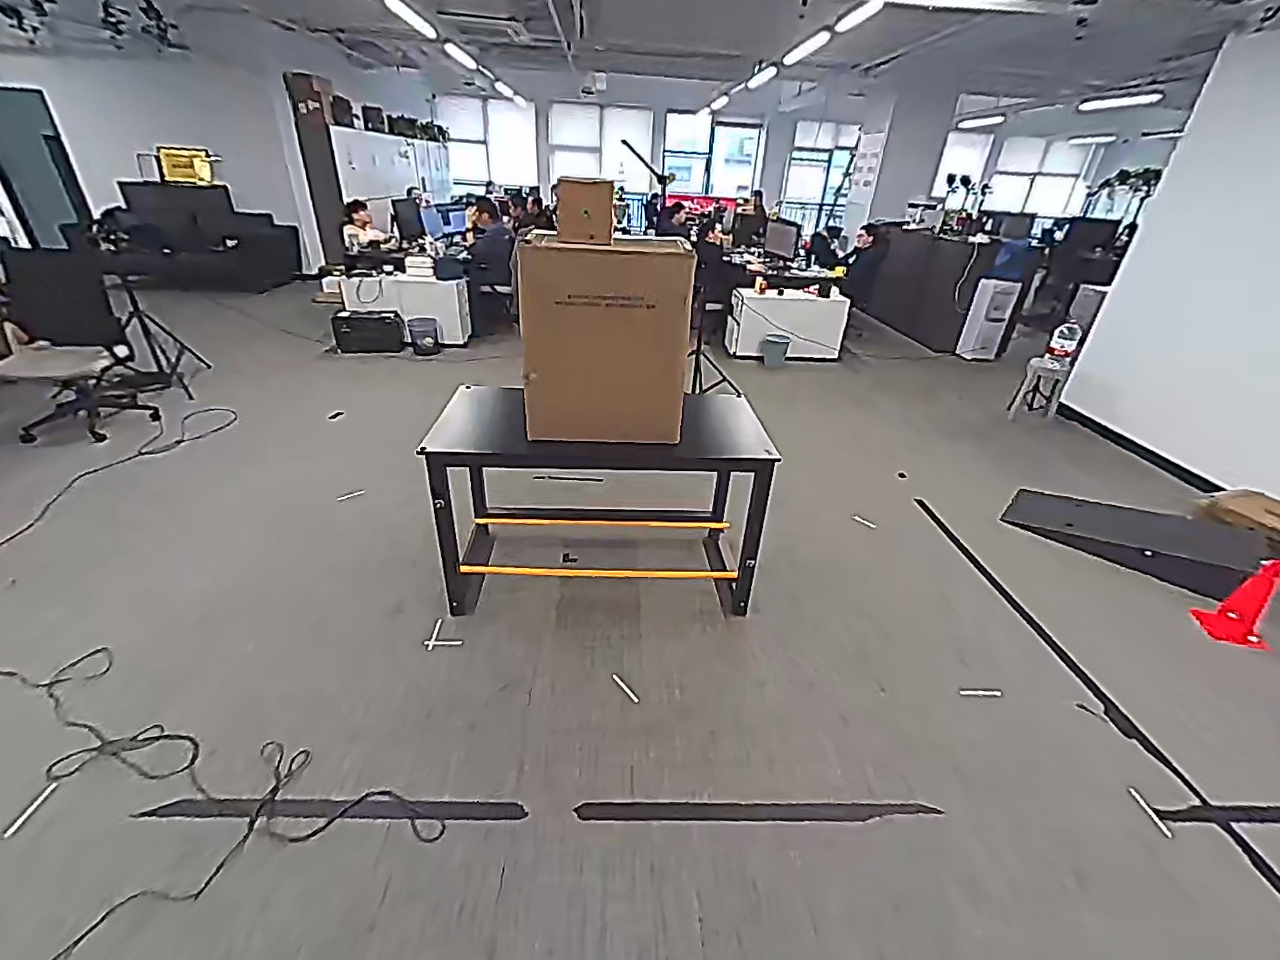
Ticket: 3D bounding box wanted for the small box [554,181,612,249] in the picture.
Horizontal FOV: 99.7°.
[{"bbox_3d":[-0.169,-0.811,1.653,0.168,0.176,0.179,2,32,-3],"label":"small box"}]
